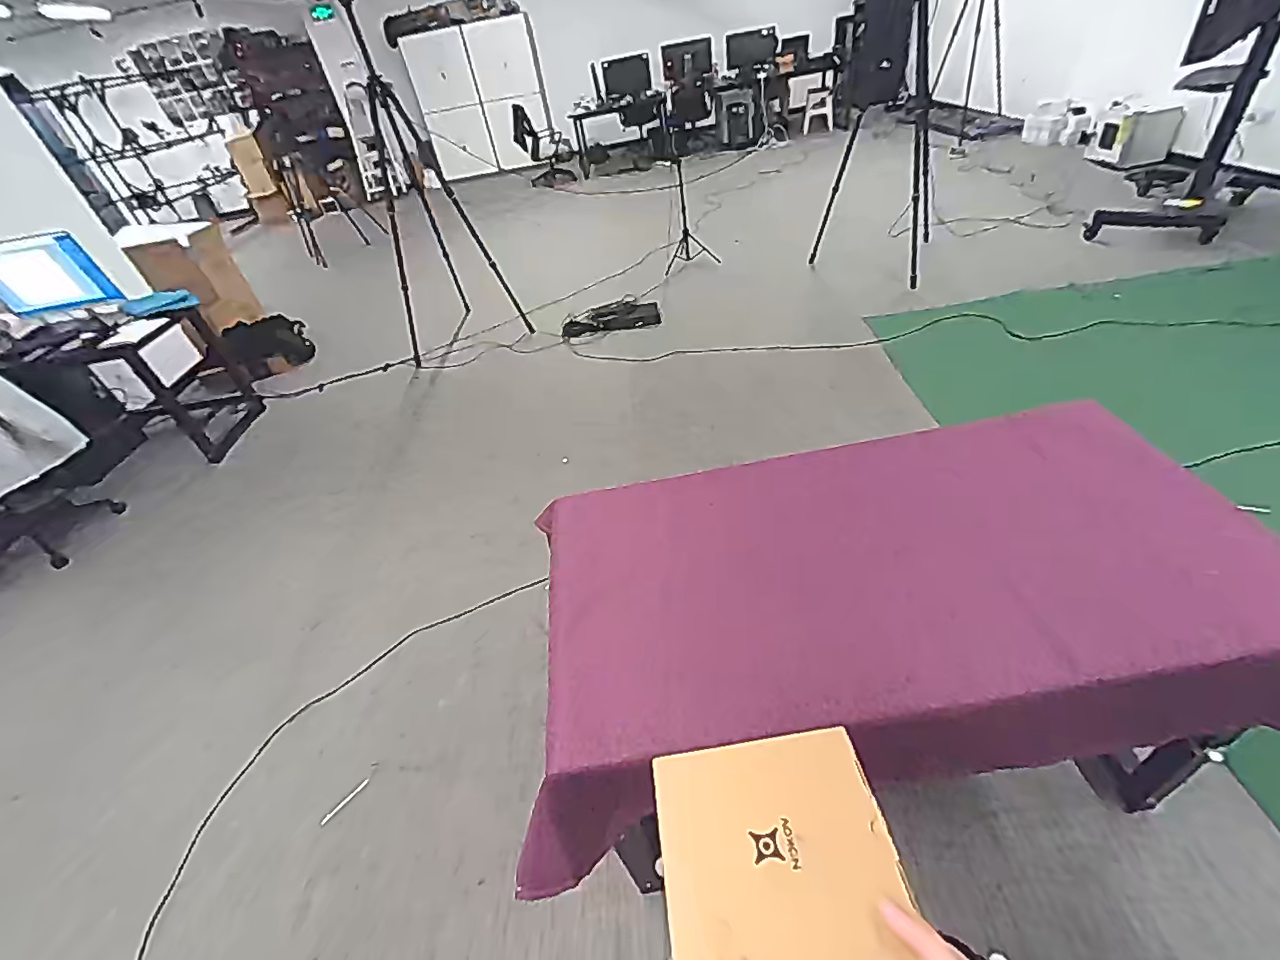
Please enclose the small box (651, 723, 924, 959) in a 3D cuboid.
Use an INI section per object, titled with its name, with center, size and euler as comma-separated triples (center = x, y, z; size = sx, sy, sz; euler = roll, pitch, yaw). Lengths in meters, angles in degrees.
[small box]
center = 0.115, 0.345, 0.468
size = 0.179, 0.176, 0.168
euler = -11, 35, 3
